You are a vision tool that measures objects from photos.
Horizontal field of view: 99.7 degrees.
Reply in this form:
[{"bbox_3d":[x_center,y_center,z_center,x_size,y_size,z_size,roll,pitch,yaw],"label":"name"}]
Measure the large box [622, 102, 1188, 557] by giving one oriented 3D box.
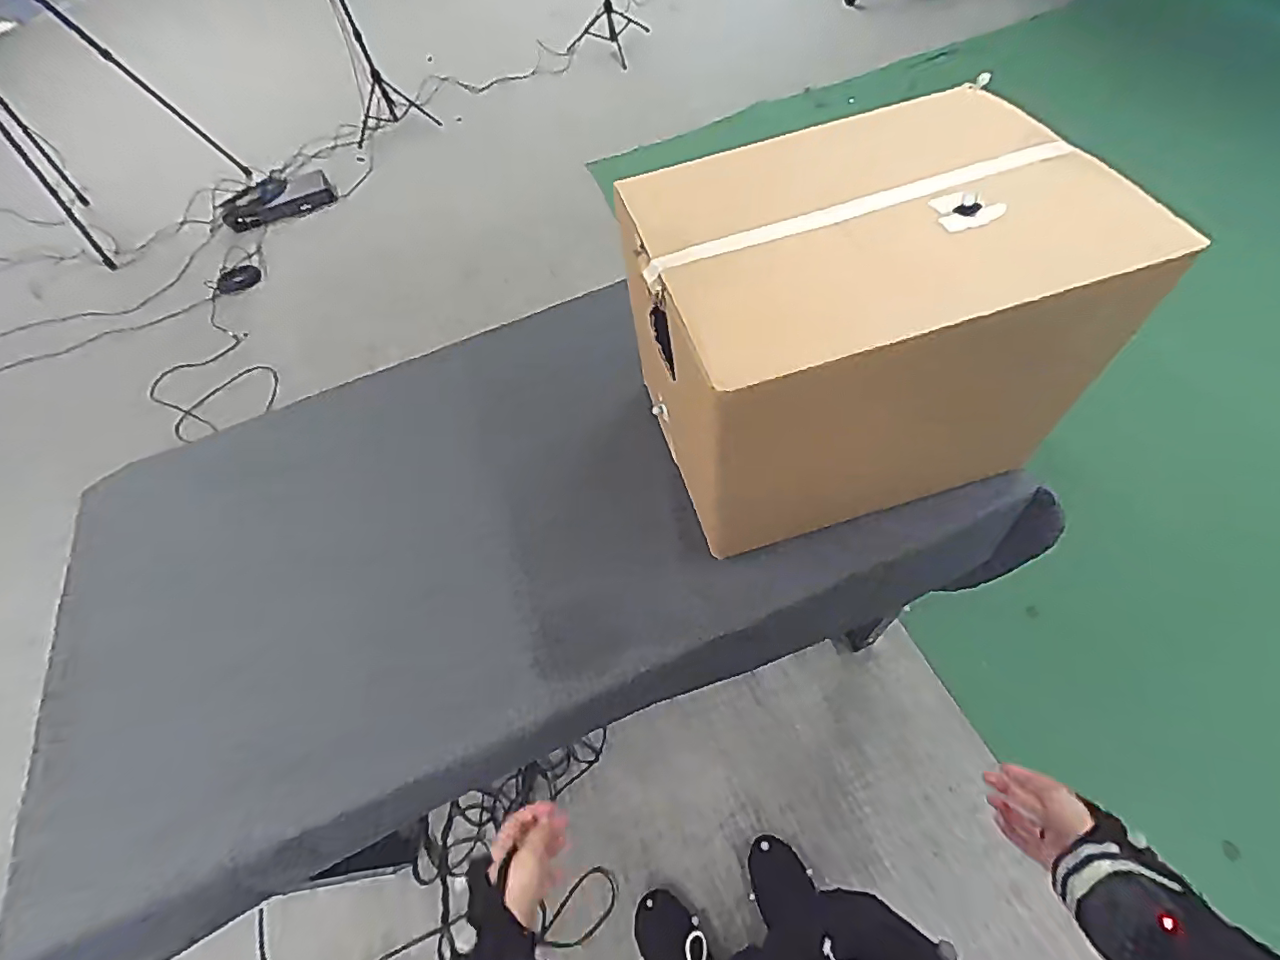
[{"bbox_3d":[0.224,-0.159,0.622,0.408,0.320,0.320,-16,57,-4],"label":"large box"}]
